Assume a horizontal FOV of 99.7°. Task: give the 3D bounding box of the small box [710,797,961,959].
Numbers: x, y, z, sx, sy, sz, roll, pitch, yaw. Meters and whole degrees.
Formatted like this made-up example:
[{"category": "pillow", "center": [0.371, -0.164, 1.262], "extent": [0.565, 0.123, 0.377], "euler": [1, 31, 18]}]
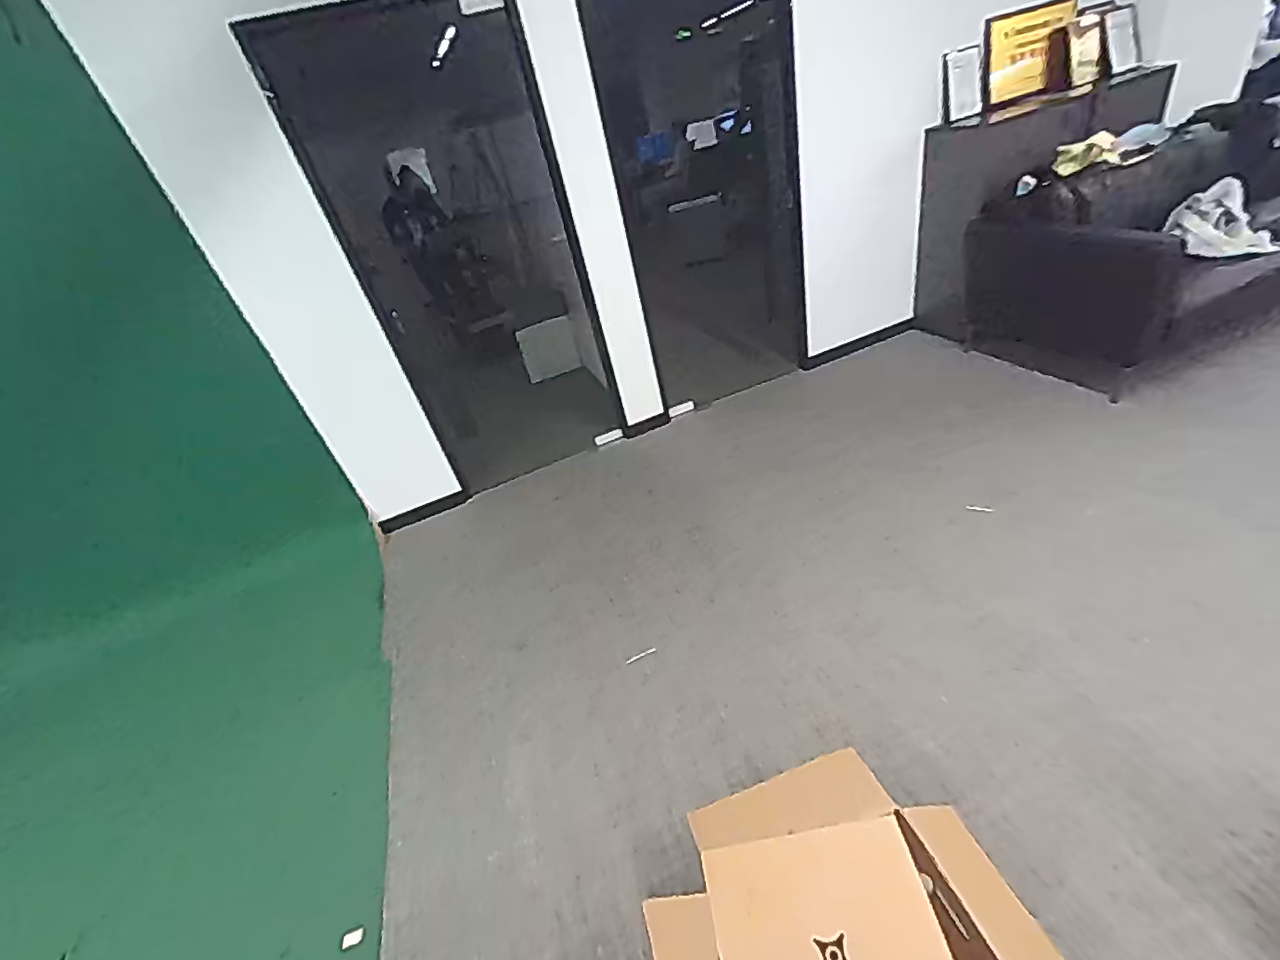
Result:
[{"category": "small box", "center": [0.160, 0.400, 0.459], "extent": [0.168, 0.176, 0.179], "euler": [-12, 46, 2]}]
